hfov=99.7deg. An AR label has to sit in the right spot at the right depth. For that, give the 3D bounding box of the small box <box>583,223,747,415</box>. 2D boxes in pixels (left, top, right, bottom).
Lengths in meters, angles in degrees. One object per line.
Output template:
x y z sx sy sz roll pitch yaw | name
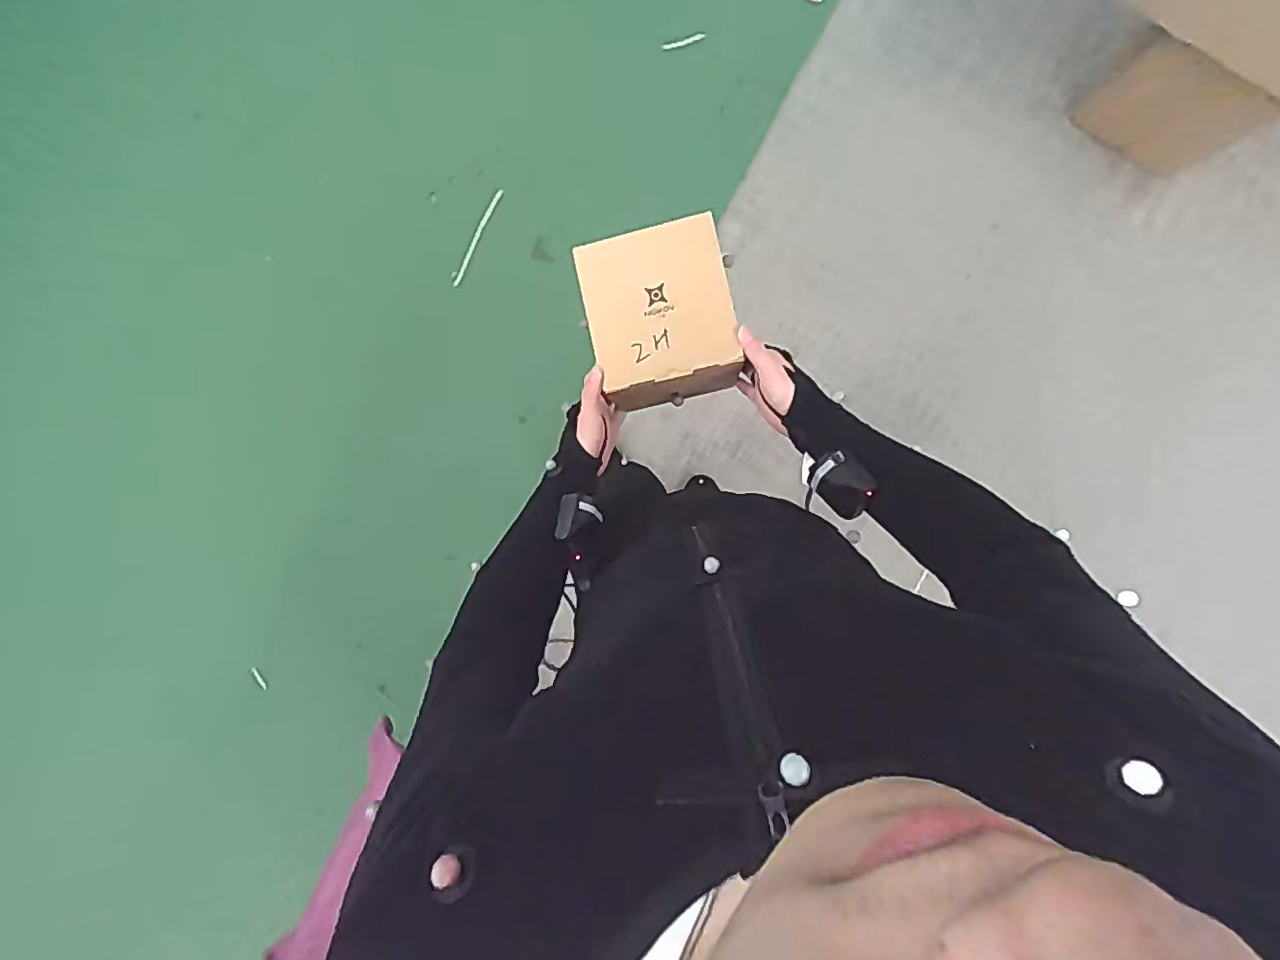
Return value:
0.033 -0.192 0.696 0.168 0.176 0.179 -11 89 5 | small box
